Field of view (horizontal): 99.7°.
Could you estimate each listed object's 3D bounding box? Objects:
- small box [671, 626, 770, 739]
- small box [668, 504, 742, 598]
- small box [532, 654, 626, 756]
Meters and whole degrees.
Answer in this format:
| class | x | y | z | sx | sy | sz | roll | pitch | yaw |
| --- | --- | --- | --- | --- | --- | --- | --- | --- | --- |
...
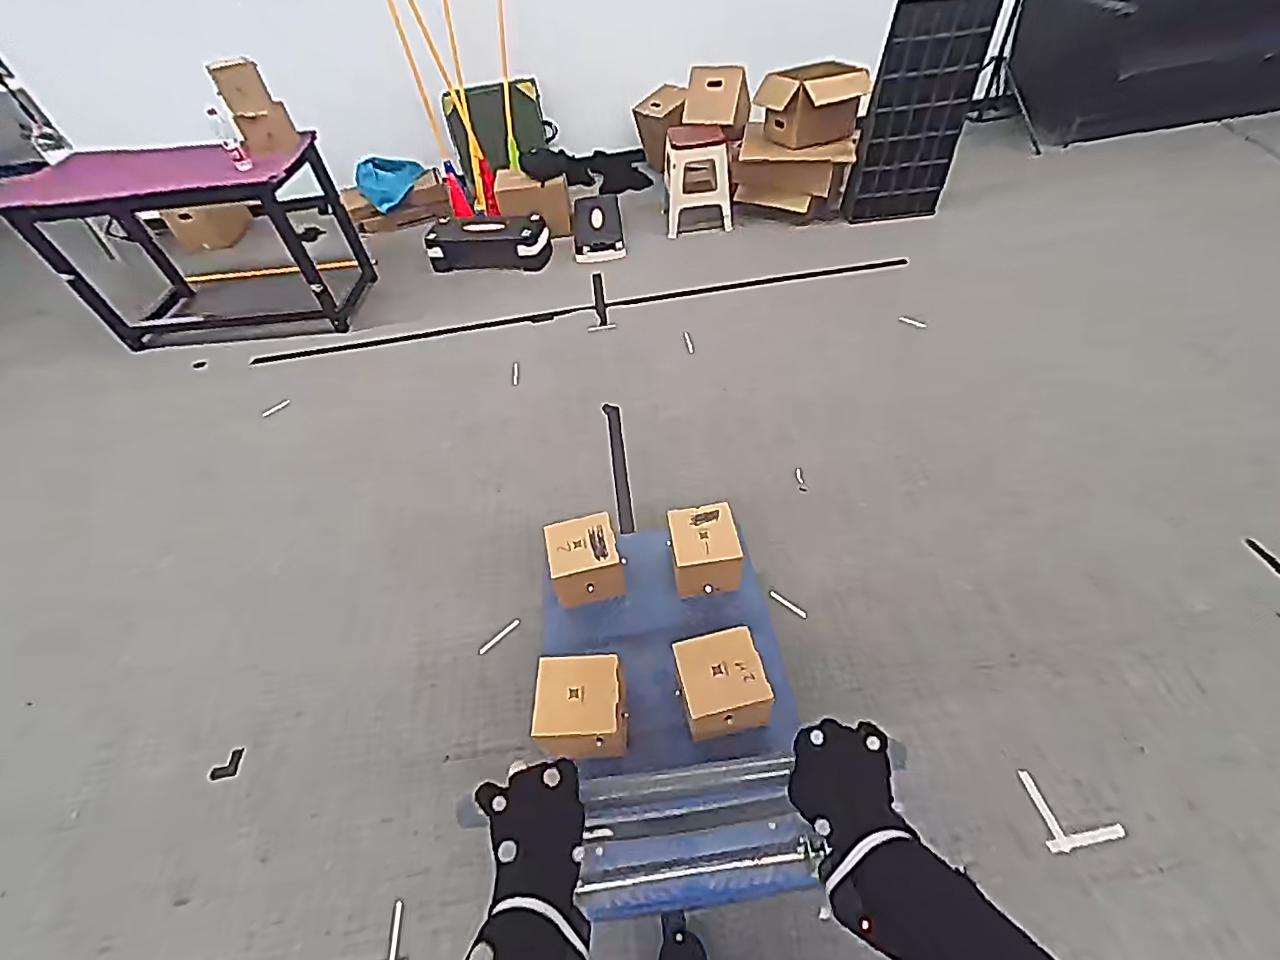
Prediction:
| class | x | y | z | sx | sy | sz | roll | pitch | yaw |
| --- | --- | --- | --- | --- | --- | --- | --- | --- | --- |
| small box | 0.176 | 0.455 | 1.205 | 0.179 | 0.176 | 0.168 | -13 | 49 | -4 |
| small box | 0.167 | 0.190 | 1.439 | 0.168 | 0.176 | 0.179 | -9 | 49 | -1 |
| small box | -0.127 | 0.503 | 1.201 | 0.179 | 0.176 | 0.168 | -3 | 48 | 2 |
